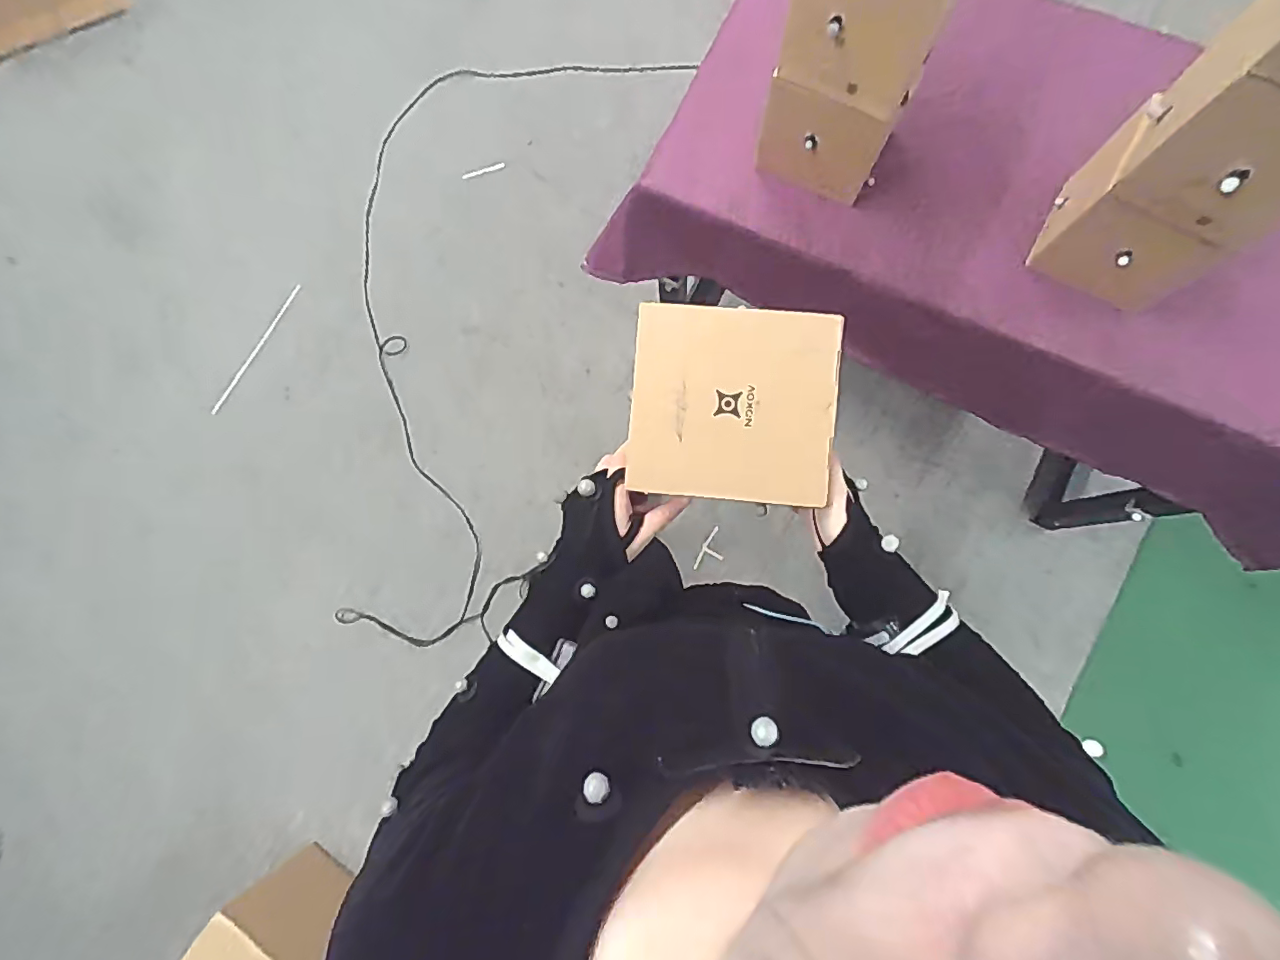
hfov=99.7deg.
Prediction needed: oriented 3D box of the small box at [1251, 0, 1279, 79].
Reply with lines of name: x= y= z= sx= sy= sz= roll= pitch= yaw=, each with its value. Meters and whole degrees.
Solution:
small box: x=0.672 y=-0.425 z=0.430 sx=0.168 sy=0.176 sz=0.179 roll=31 pitch=82 yaw=8

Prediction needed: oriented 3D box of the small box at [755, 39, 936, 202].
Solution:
small box: x=0.294 y=-0.557 z=0.811 sx=0.179 sy=0.176 sz=0.168 roll=28 pitch=82 yaw=8

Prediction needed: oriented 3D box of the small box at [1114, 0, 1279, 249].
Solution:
small box: x=0.685 y=-0.395 z=0.593 sx=0.168 sy=0.176 sz=0.179 roll=32 pitch=84 yaw=8

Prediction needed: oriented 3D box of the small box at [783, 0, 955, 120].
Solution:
small box: x=0.288 y=-0.587 z=0.651 sx=0.168 sy=0.176 sz=0.179 roll=29 pitch=81 yaw=8
